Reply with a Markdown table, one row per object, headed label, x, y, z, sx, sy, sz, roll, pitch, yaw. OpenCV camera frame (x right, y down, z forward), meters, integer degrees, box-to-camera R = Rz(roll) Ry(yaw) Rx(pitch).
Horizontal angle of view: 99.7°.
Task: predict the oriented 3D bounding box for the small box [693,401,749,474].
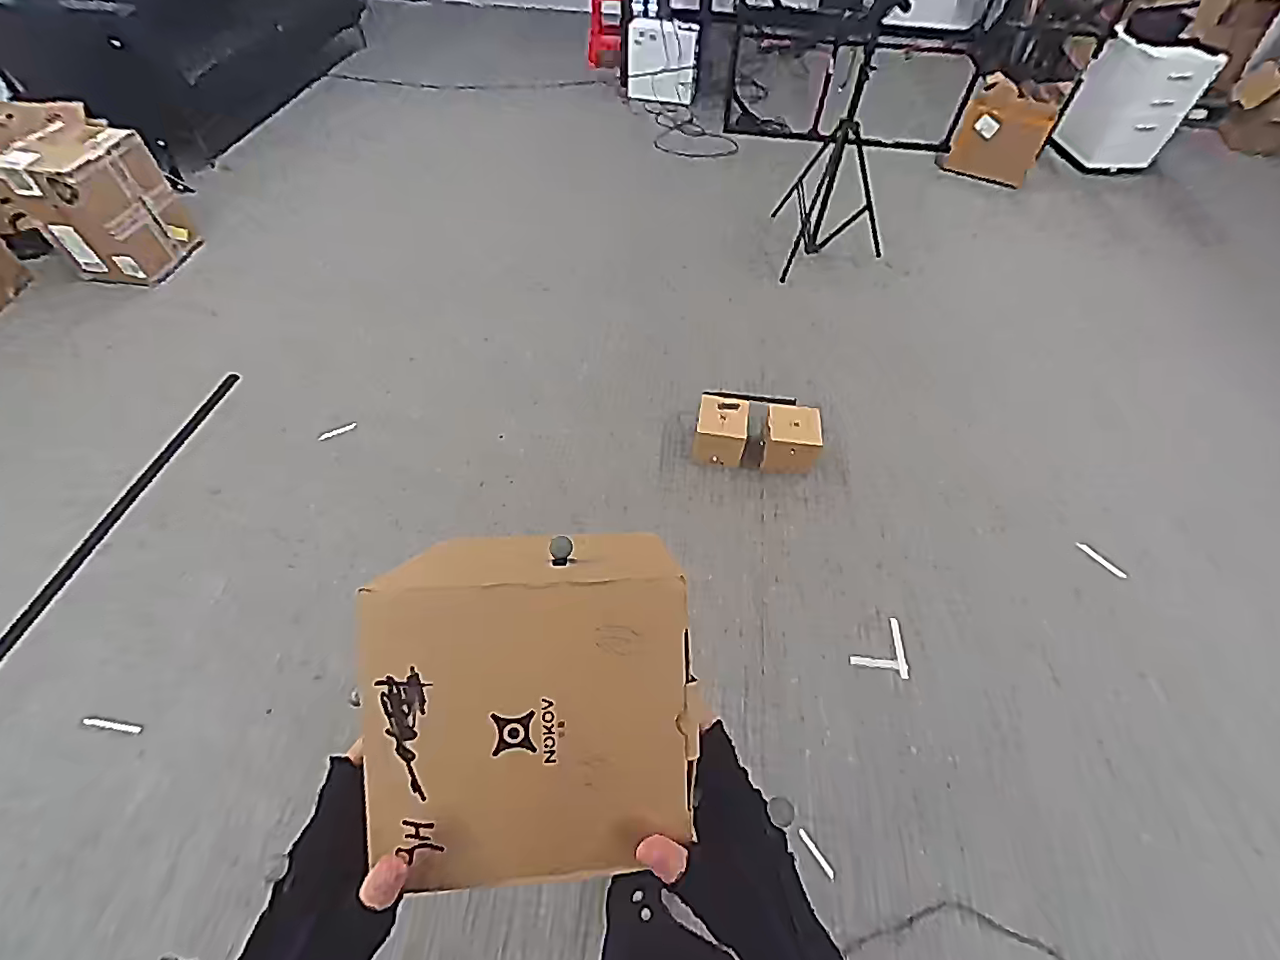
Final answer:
| label | x | y | z | sx | sy | sz | roll | pitch | yaw |
| --- | --- | --- | --- | --- | --- | --- | --- | --- | --- |
| small box | 0.281 | -0.148 | 1.891 | 0.168 | 0.176 | 0.179 | 8 | 54 | 5 |

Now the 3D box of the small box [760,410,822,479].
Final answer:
| label | x | y | z | sx | sy | sz | roll | pitch | yaw |
| --- | --- | --- | --- | --- | --- | --- | --- | --- | --- |
| small box | 0.518 | -0.121 | 1.881 | 0.179 | 0.176 | 0.168 | 6 | 55 | 2 |

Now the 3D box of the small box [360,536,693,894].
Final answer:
| label | x | y | z | sx | sy | sz | roll | pitch | yaw |
| --- | --- | --- | --- | --- | --- | --- | --- | --- | --- |
| small box | -0.067 | 0.132 | 0.372 | 0.179 | 0.176 | 0.168 | -2 | 92 | -6 |
